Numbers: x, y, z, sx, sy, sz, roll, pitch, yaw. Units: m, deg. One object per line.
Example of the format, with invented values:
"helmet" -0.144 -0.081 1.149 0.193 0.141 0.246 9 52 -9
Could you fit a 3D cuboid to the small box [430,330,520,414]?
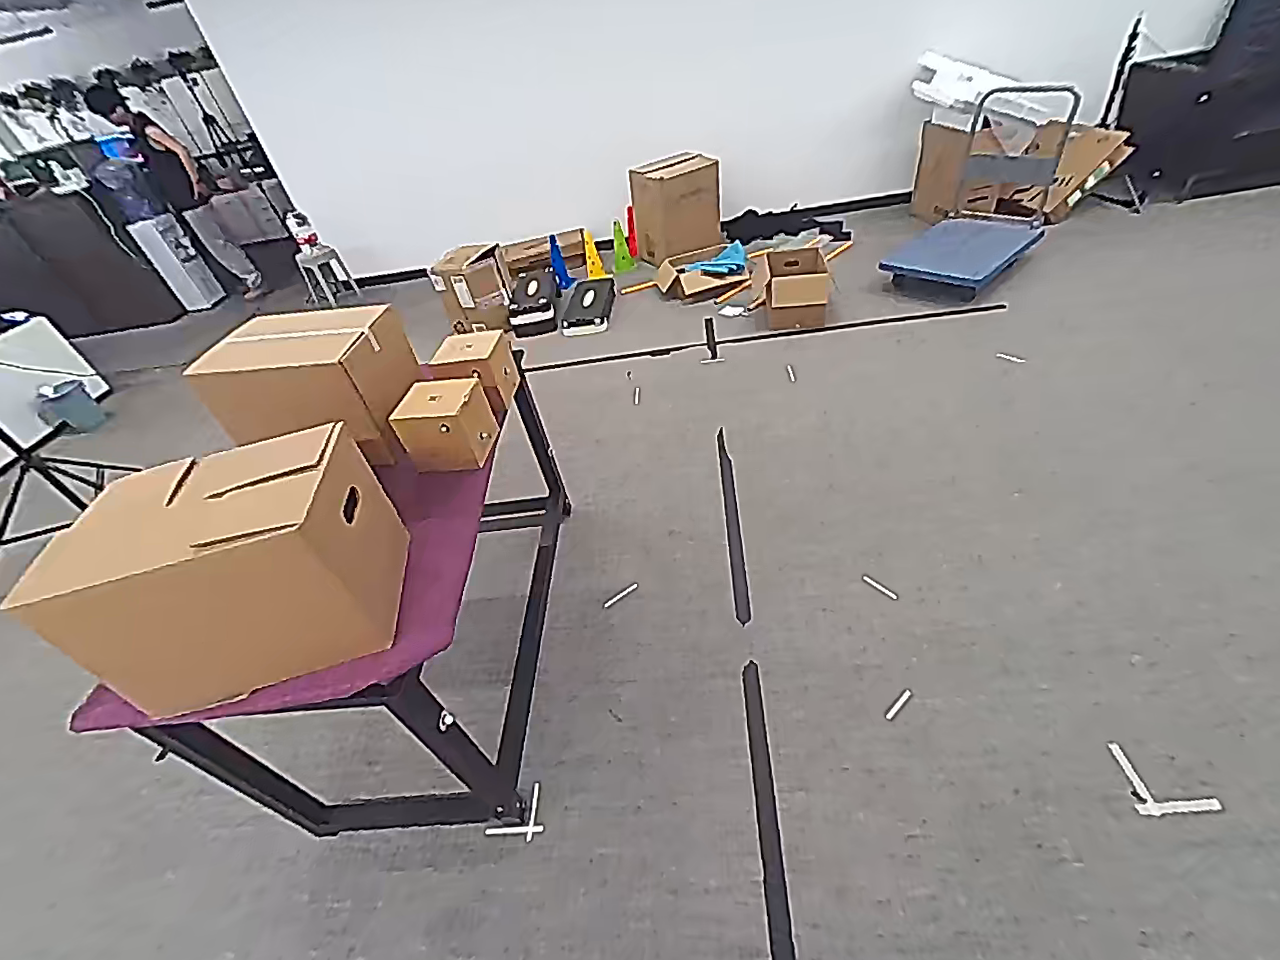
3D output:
"small box" -0.461 -0.307 1.545 0.179 0.176 0.168 -5 41 10
